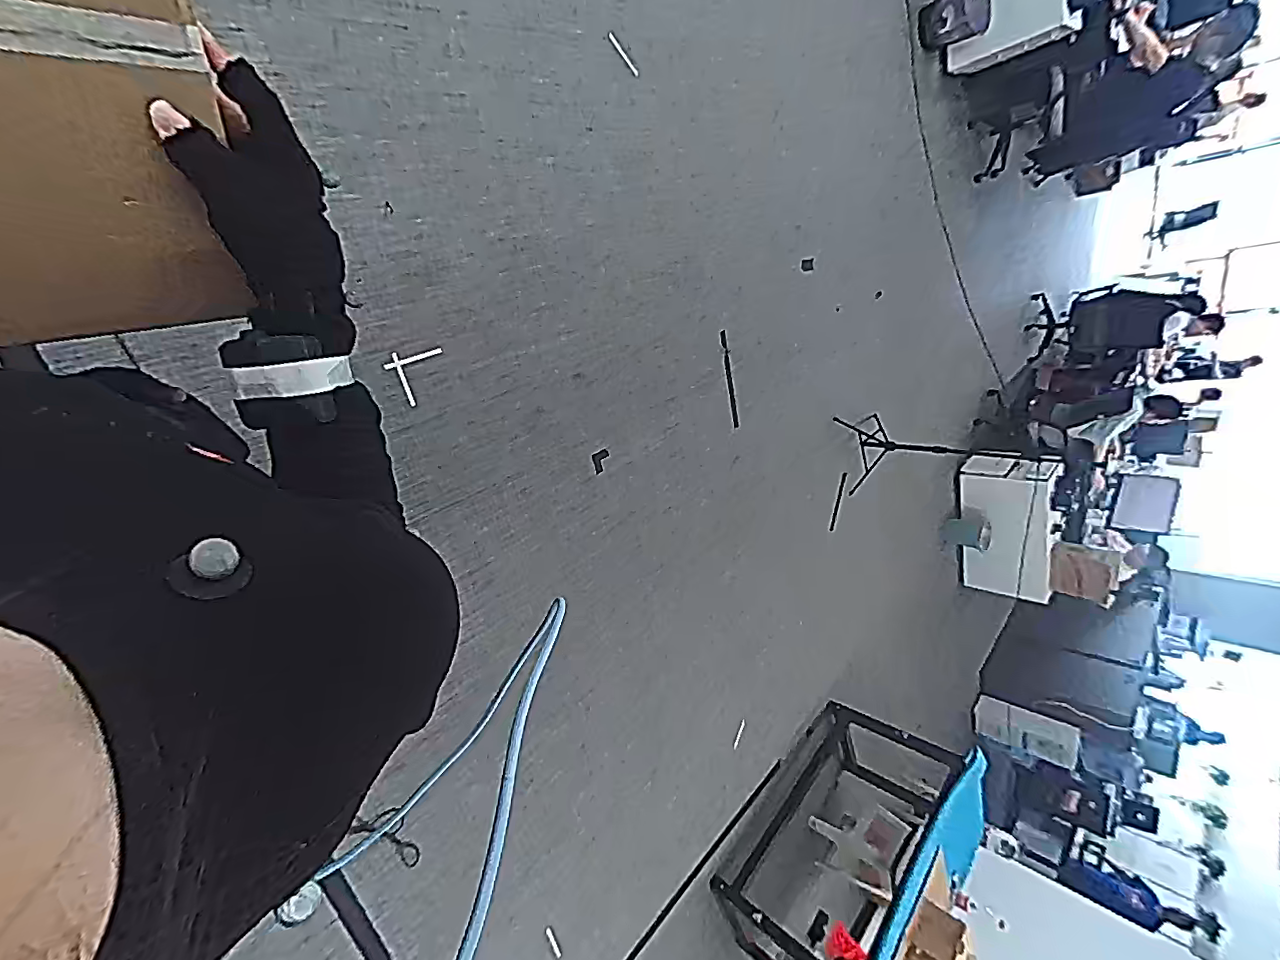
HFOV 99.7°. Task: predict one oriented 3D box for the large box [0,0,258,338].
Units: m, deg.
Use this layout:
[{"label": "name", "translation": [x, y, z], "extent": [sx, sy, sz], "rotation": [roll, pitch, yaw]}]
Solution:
[{"label": "large box", "translation": [-0.494, -0.262, 0.253], "extent": [0.408, 0.320, 0.320], "rotation": [-25, 145, -38]}]
